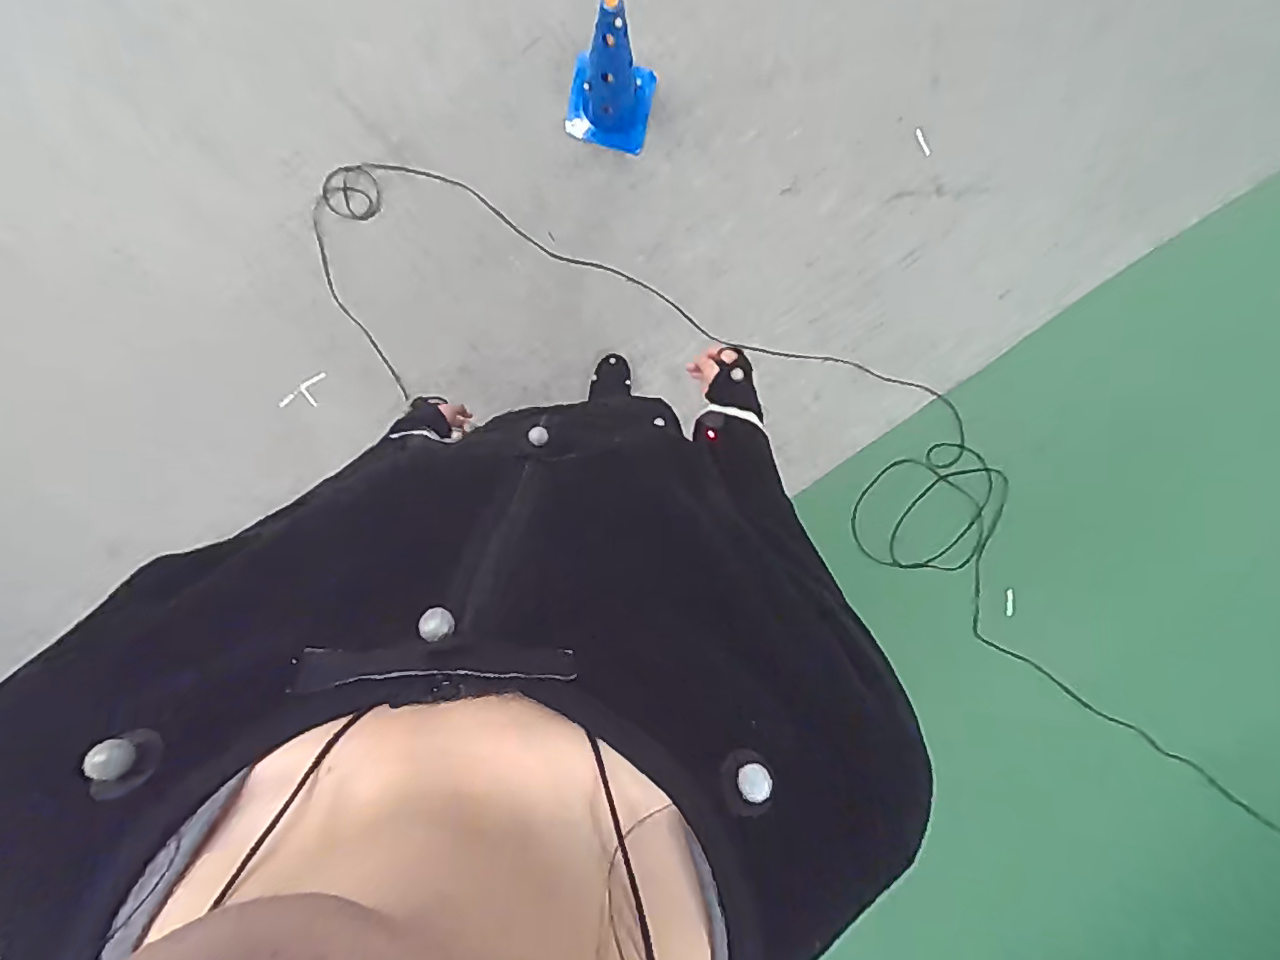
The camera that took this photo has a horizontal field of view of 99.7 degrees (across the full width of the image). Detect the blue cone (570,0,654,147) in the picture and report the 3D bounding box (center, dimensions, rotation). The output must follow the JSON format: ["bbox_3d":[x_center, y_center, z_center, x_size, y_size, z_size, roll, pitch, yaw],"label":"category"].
[{"bbox_3d":[-0.058,-0.900,1.151,0.192,0.380,0.193,11,98,-5],"label":"blue cone"}]
